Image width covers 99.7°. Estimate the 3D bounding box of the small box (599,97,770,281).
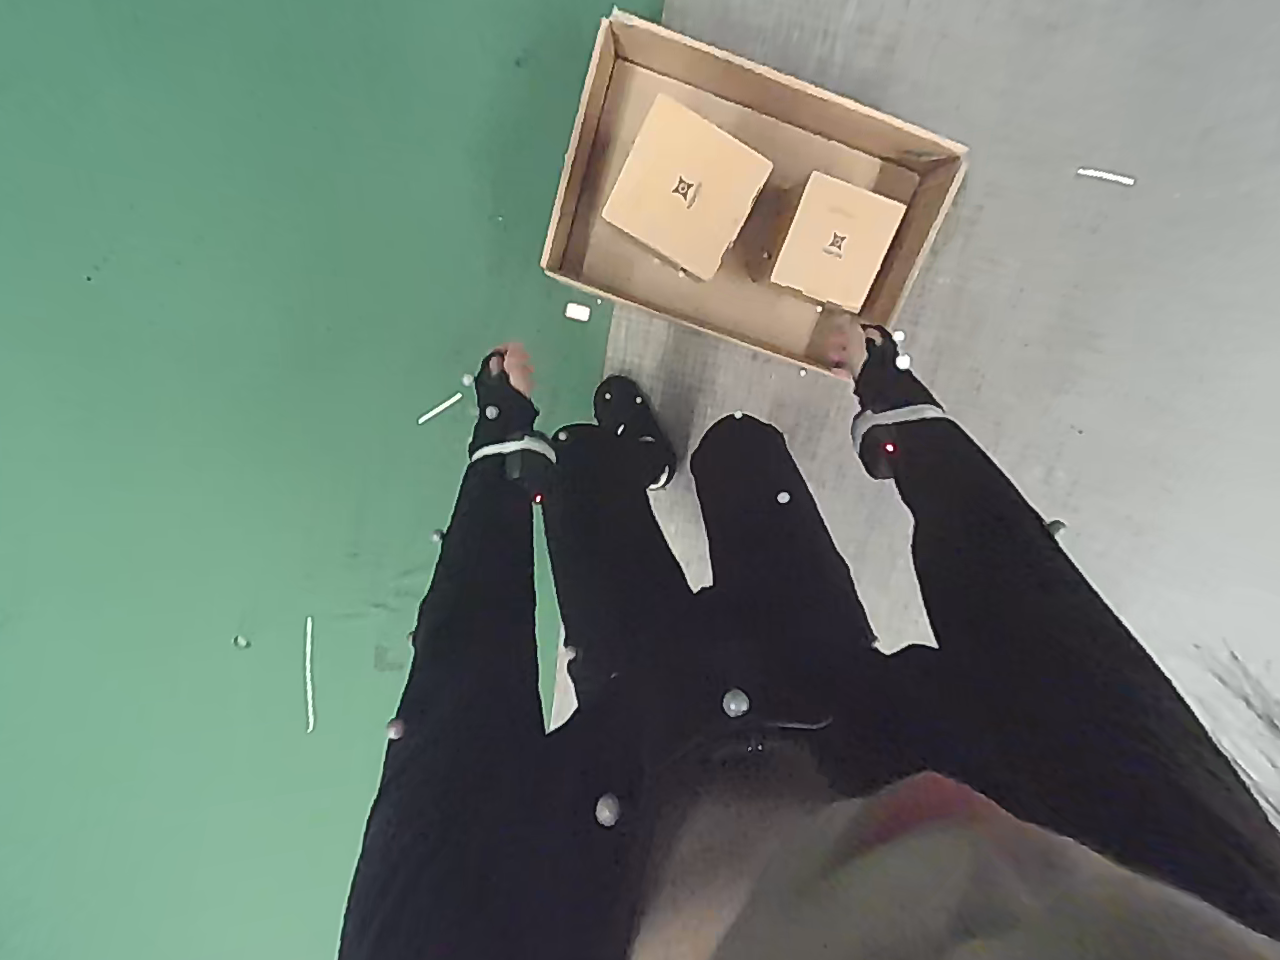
[{"bbox_3d":[0.058,-0.404,0.790,0.179,0.176,0.168,27,107,-9],"label":"small box"}]
